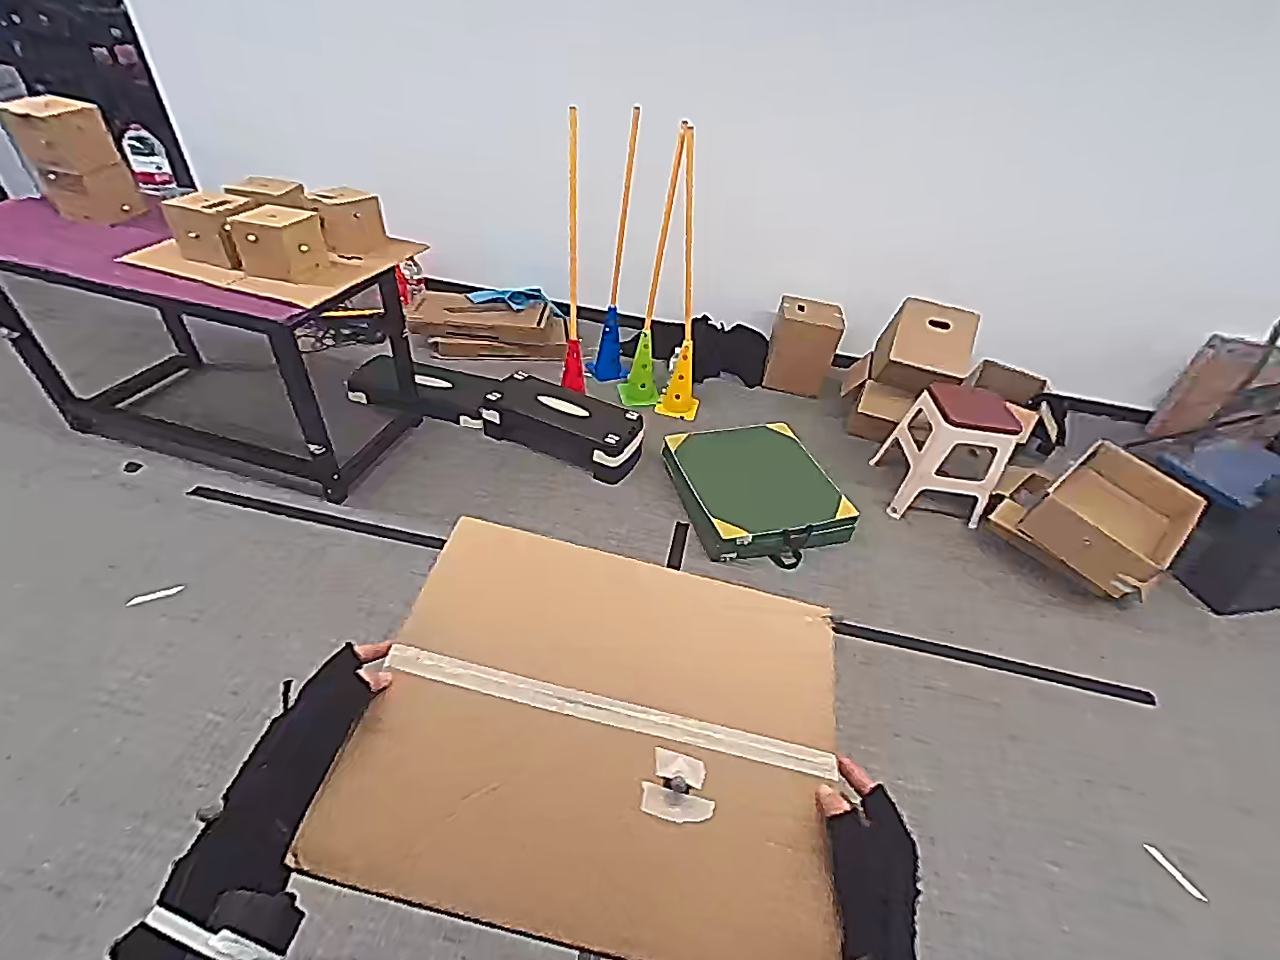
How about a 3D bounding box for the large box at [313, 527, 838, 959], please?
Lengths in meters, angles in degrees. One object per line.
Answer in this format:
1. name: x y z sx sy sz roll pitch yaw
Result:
1. large box: -0.044 0.301 0.600 0.408 0.320 0.320 15 51 1
